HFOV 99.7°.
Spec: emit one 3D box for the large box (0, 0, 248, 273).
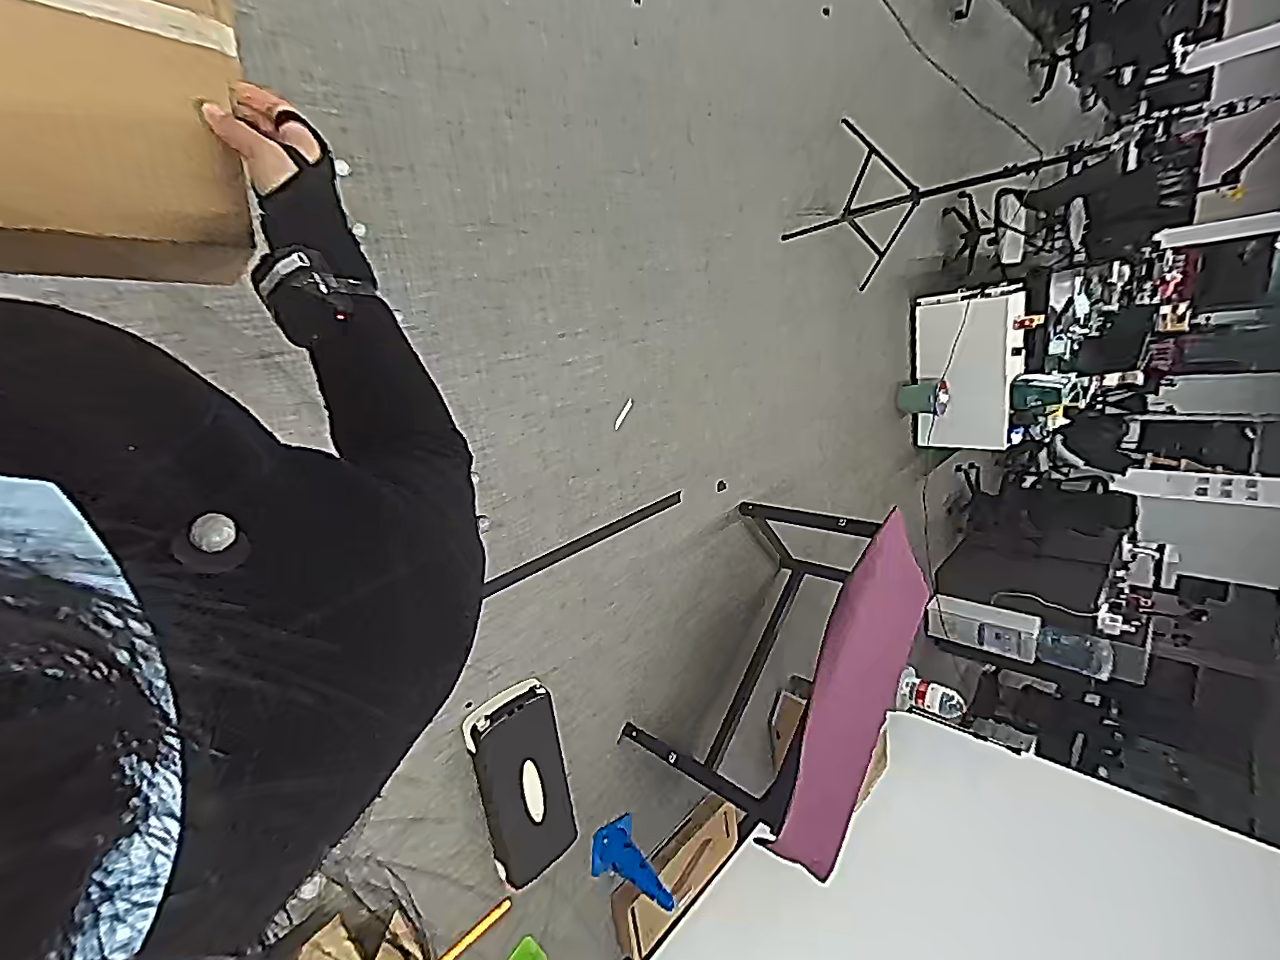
[{"bbox_3d":[-0.594,-0.352,0.433,0.408,0.320,0.320,-12,106,-37],"label":"large box"}]
